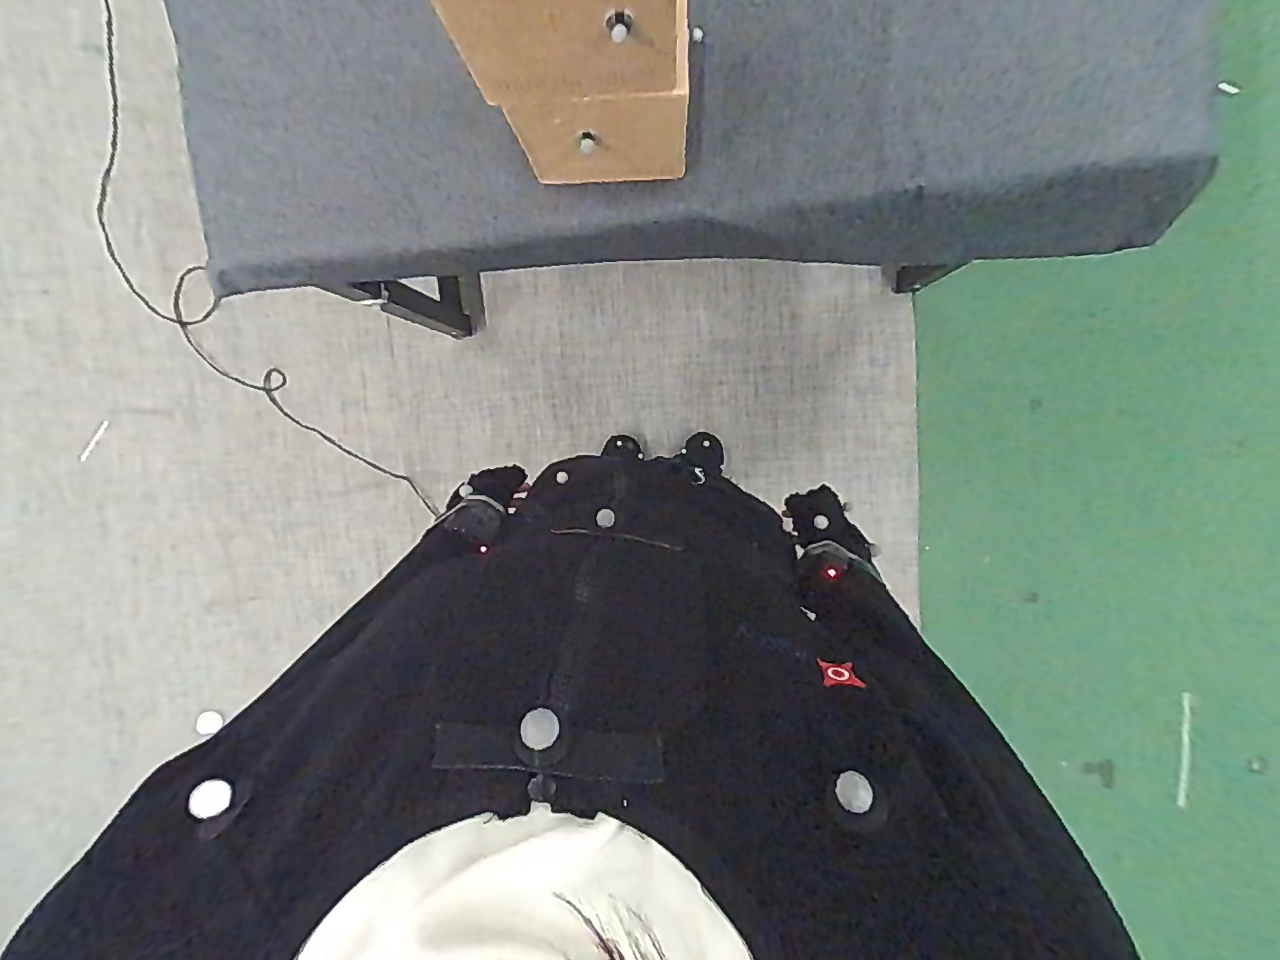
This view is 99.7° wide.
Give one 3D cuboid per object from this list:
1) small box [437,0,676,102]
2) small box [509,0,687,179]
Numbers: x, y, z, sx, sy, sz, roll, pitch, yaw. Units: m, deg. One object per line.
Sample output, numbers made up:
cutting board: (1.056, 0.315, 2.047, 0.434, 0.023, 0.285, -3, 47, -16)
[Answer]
small box: (-0.060, -0.427, 0.413, 0.179, 0.176, 0.168, -2, 94, 4)
small box: (-0.039, -0.442, 0.573, 0.179, 0.176, 0.168, 0, 95, 4)
